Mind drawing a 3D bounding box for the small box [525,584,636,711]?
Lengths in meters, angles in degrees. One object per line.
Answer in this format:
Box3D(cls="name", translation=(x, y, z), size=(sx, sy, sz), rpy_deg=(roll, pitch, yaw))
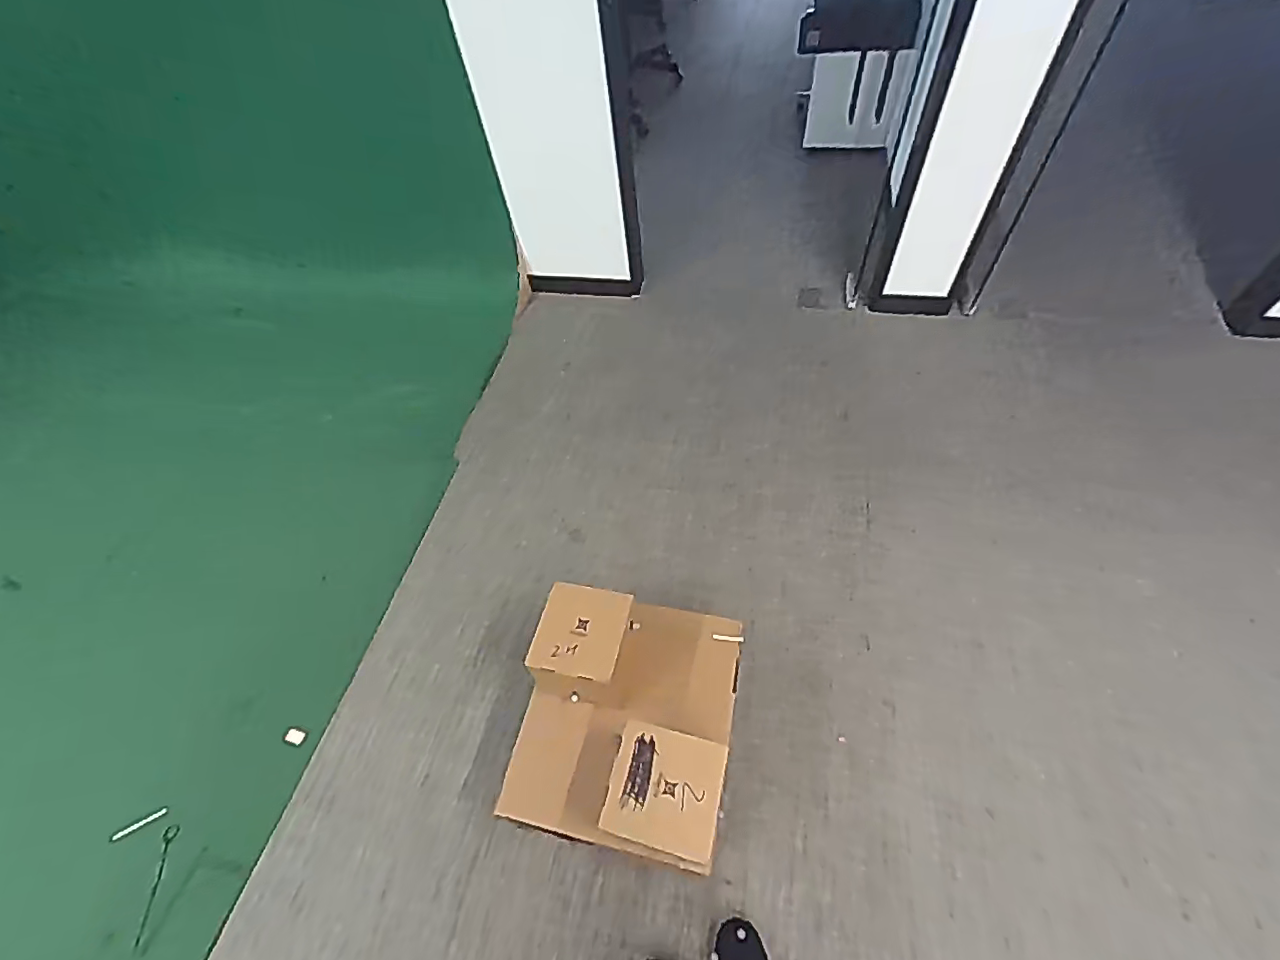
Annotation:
Box3D(cls="small box", translation=(-0.107, 0.333, 1.075), size=(0.168, 0.176, 0.179), rpy_deg=(7, 53, 12))
